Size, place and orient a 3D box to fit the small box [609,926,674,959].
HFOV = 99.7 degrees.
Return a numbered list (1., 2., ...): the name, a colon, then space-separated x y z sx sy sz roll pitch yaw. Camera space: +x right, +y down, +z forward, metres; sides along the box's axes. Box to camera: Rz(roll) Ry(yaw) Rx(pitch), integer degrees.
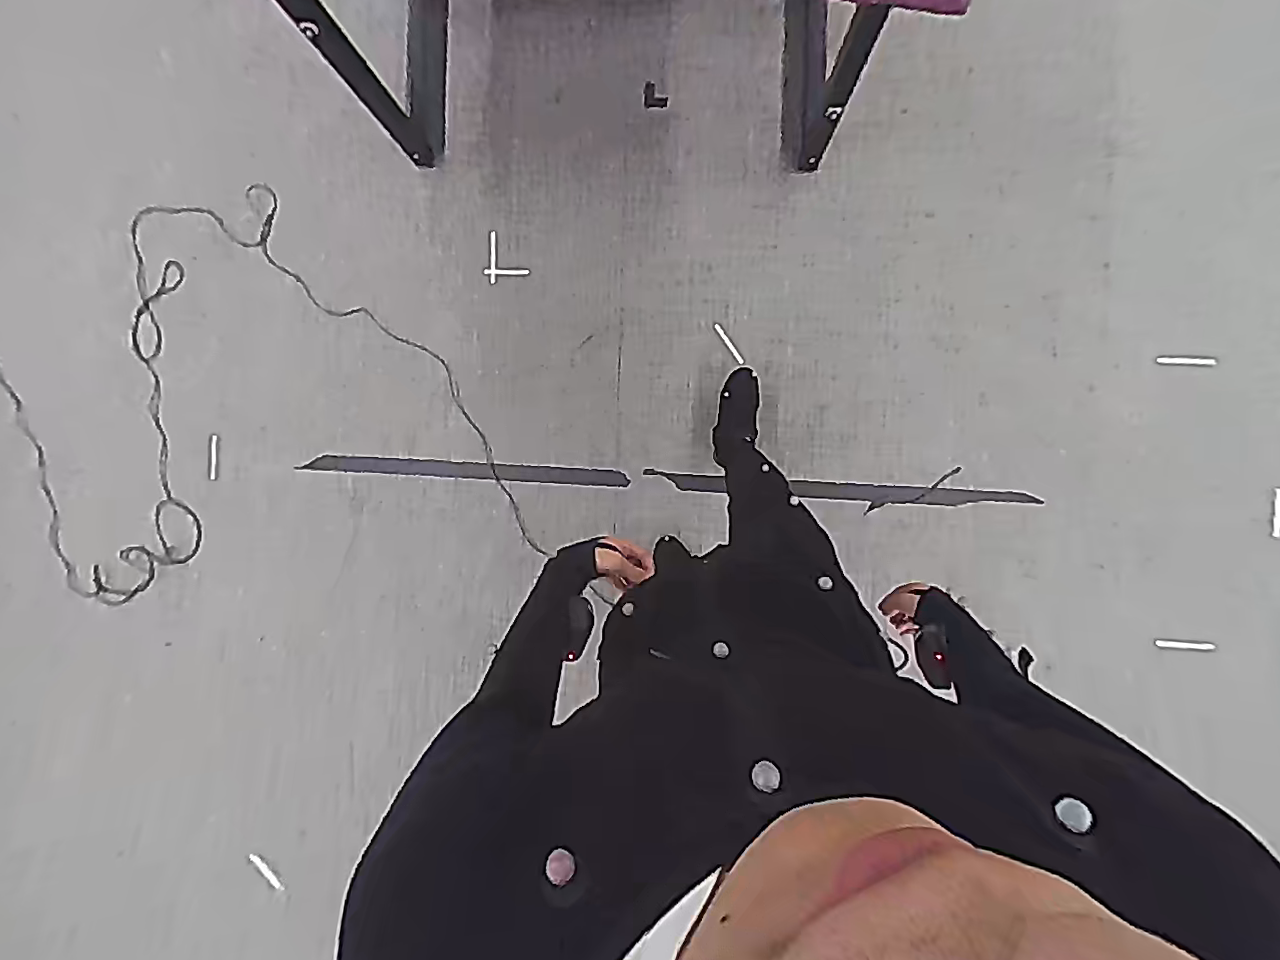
1. small box: 0.006 1.381 1.495 0.179 0.176 0.168 -5 90 4
